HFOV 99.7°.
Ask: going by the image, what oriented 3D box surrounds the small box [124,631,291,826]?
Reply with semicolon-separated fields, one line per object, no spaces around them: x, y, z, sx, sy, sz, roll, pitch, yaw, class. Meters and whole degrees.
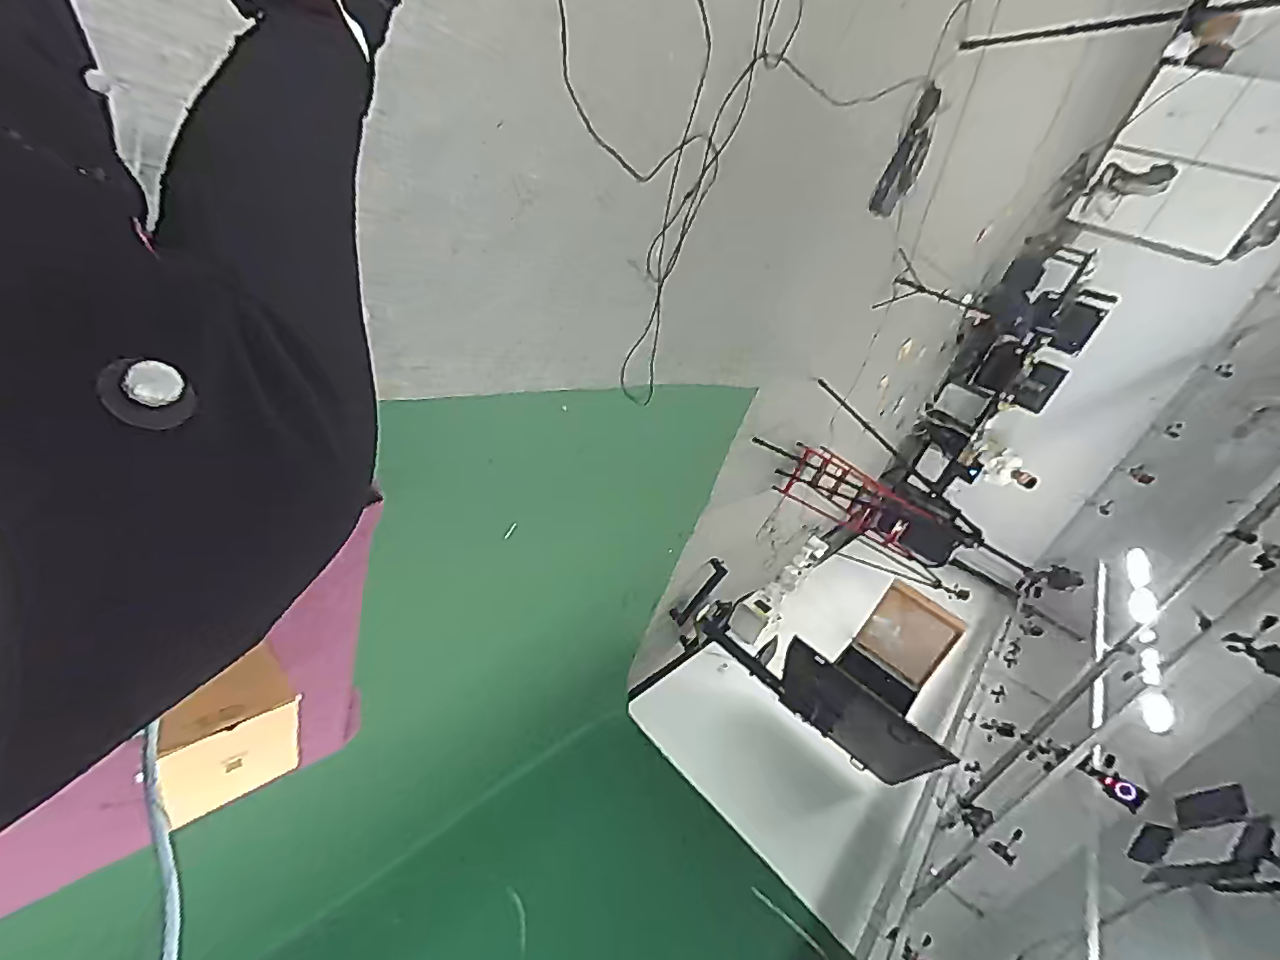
-0.659;0.370;0.832;0.168;0.176;0.179;-16;133;-47;small box
